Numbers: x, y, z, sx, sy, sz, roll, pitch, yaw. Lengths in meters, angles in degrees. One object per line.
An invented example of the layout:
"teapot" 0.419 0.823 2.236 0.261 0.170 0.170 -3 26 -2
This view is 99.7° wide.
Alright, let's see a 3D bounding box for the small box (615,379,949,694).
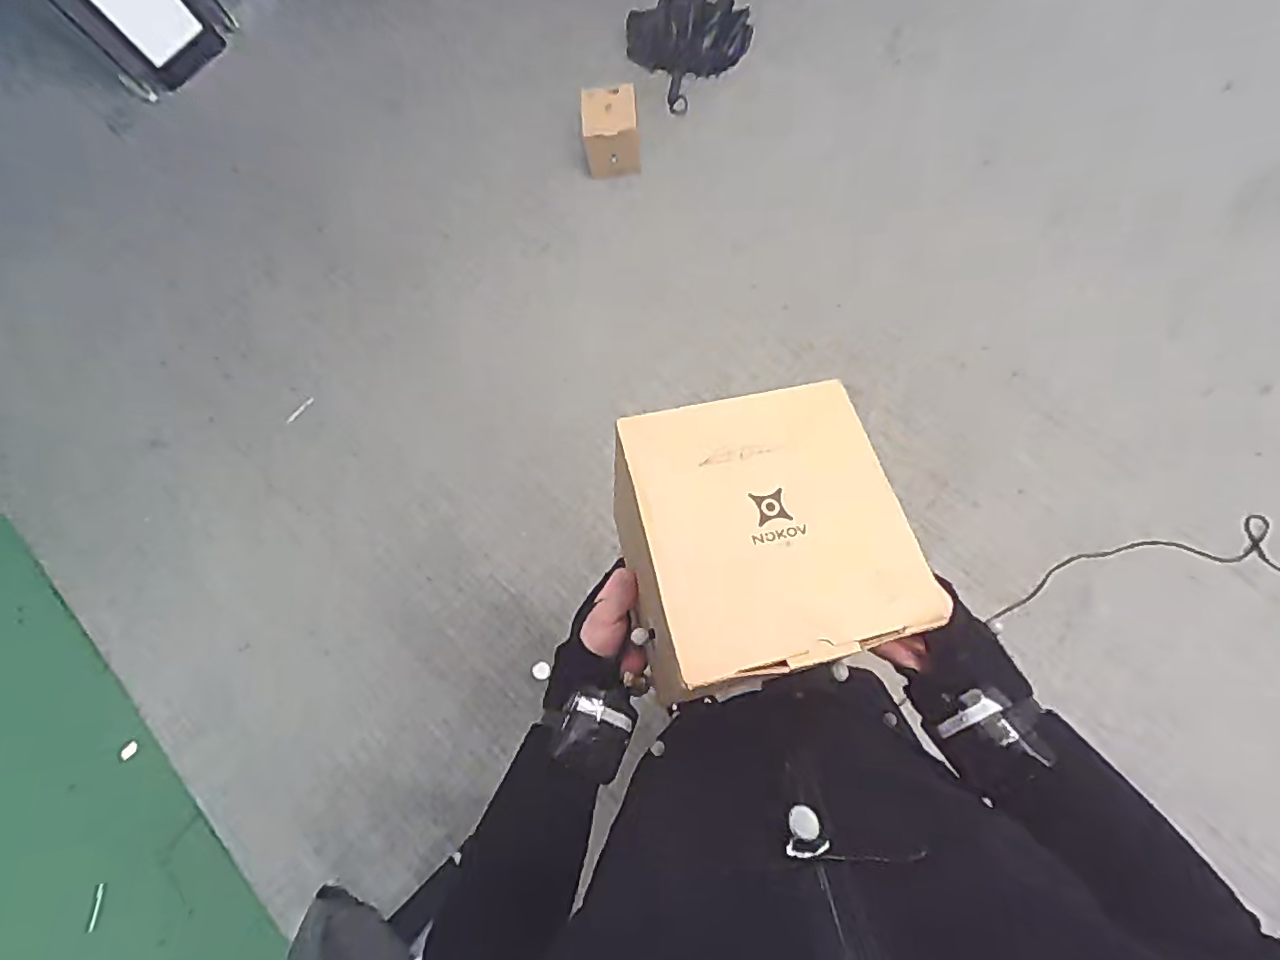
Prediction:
"small box" 0.079 0.054 0.408 0.168 0.176 0.179 -11 65 -9
